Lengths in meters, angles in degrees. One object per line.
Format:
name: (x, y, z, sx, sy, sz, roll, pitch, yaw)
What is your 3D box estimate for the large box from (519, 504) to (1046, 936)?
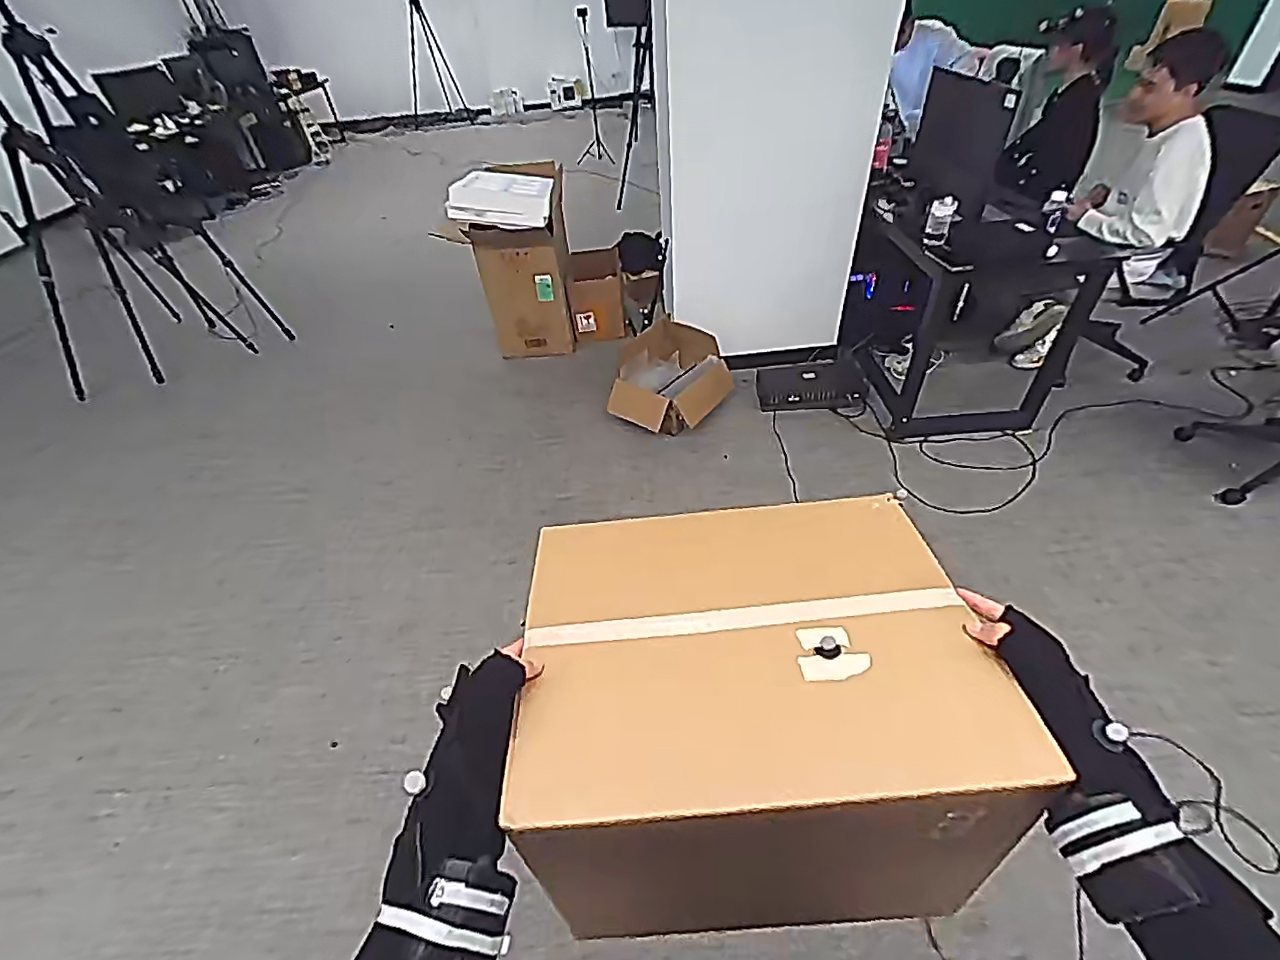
large box: (0.110, 0.258, 0.605, 0.408, 0.320, 0.320, -6, 38, 1)
